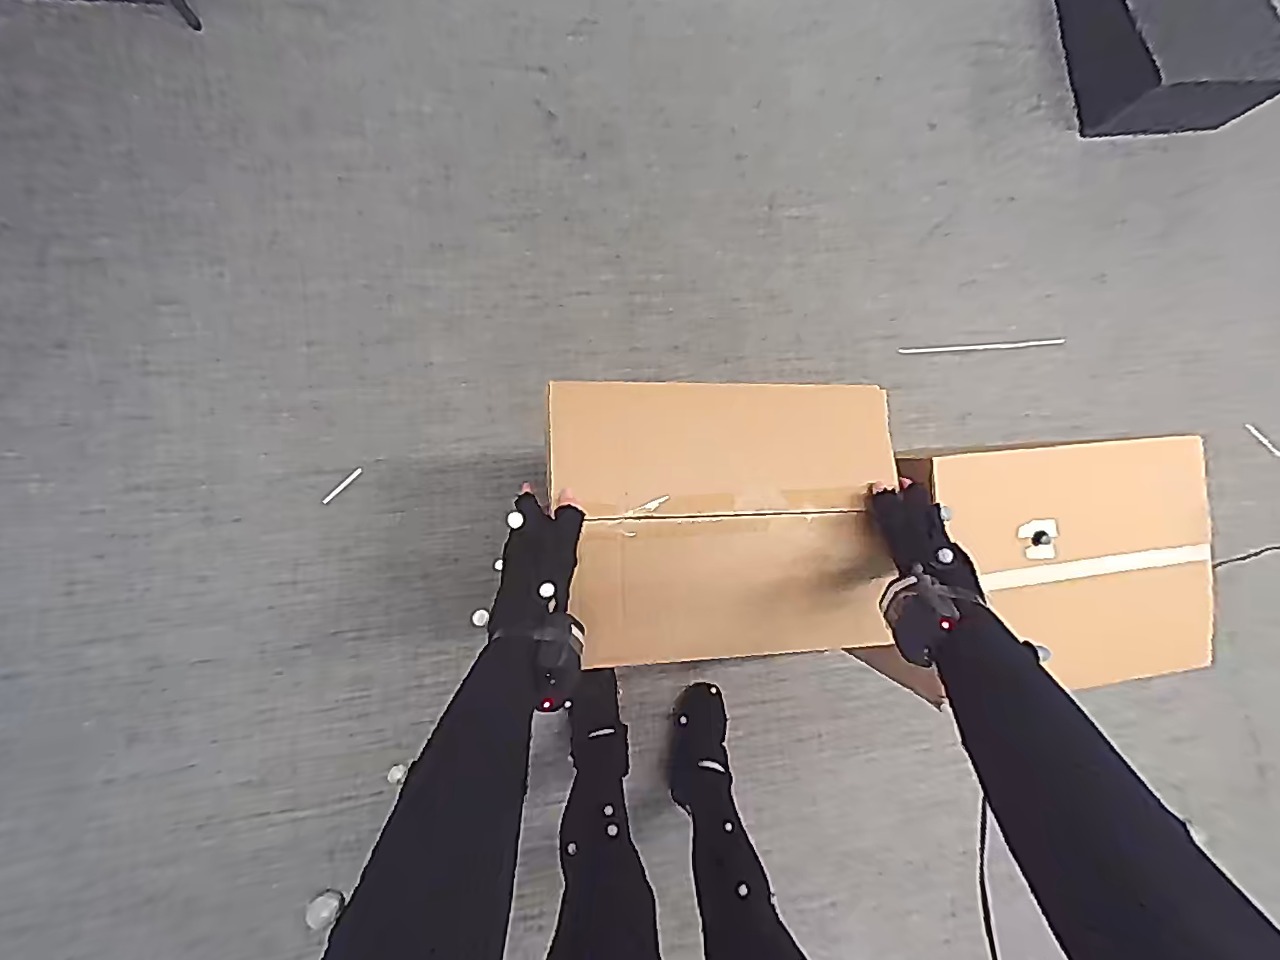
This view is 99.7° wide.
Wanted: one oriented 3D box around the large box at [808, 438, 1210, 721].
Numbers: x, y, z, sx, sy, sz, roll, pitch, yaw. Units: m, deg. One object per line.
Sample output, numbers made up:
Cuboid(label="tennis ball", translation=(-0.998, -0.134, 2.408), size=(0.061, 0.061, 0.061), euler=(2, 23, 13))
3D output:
Cuboid(label="large box", translation=(0.516, 0.114, 0.817), size=(0.408, 0.320, 0.320), euler=(-5, 91, -9))
